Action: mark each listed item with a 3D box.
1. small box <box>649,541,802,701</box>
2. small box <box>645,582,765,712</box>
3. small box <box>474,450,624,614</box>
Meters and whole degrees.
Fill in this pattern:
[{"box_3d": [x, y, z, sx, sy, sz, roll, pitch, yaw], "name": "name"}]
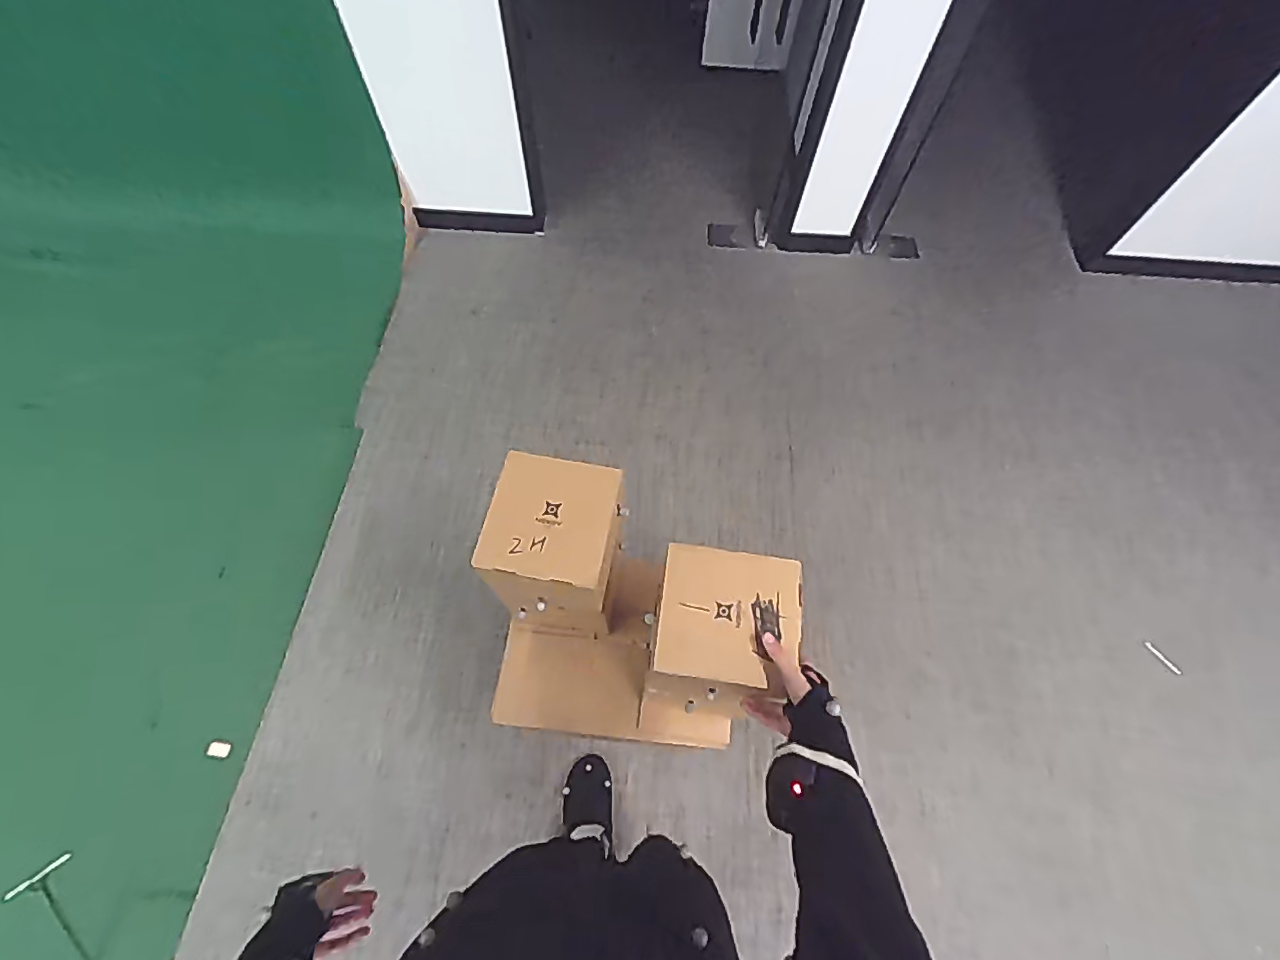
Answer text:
[{"box_3d": [0.111, 0.200, 0.740, 0.179, 0.176, 0.168, 8, 62, 4], "name": "small box"}, {"box_3d": [0.106, 0.277, 0.883, 0.179, 0.176, 0.168, 7, 64, 4], "name": "small box"}, {"box_3d": [-0.121, 0.082, 0.795, 0.168, 0.176, 0.179, 10, 64, 4], "name": "small box"}]
